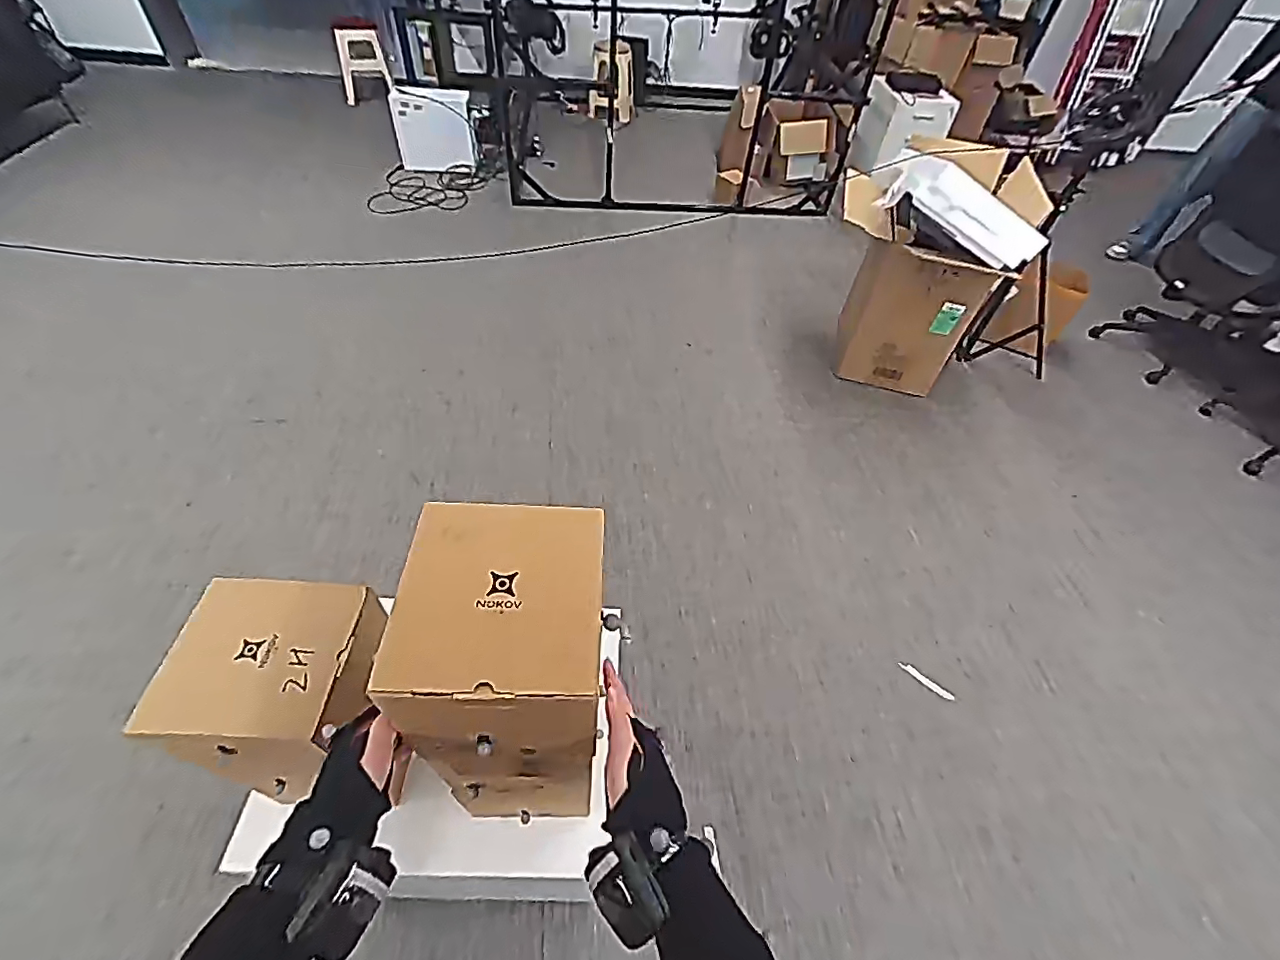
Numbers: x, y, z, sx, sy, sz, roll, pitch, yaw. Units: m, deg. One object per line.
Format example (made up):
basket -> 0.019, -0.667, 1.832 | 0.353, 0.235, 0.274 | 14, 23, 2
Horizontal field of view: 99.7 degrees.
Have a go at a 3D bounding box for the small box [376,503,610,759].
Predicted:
small box -> -0.117, 0.143, 0.504 | 0.168, 0.176, 0.179 | 3, 50, -4

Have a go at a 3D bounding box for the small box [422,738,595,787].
small box -> -0.133, 0.246, 0.629 | 0.168, 0.176, 0.179 | 3, 49, -4

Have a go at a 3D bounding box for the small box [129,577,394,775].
small box -> -0.395, 0.227, 0.617 | 0.179, 0.176, 0.168 | 4, 50, -3

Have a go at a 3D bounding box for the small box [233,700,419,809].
small box -> -0.408, 0.331, 0.744 | 0.168, 0.176, 0.179 | 4, 48, -2
